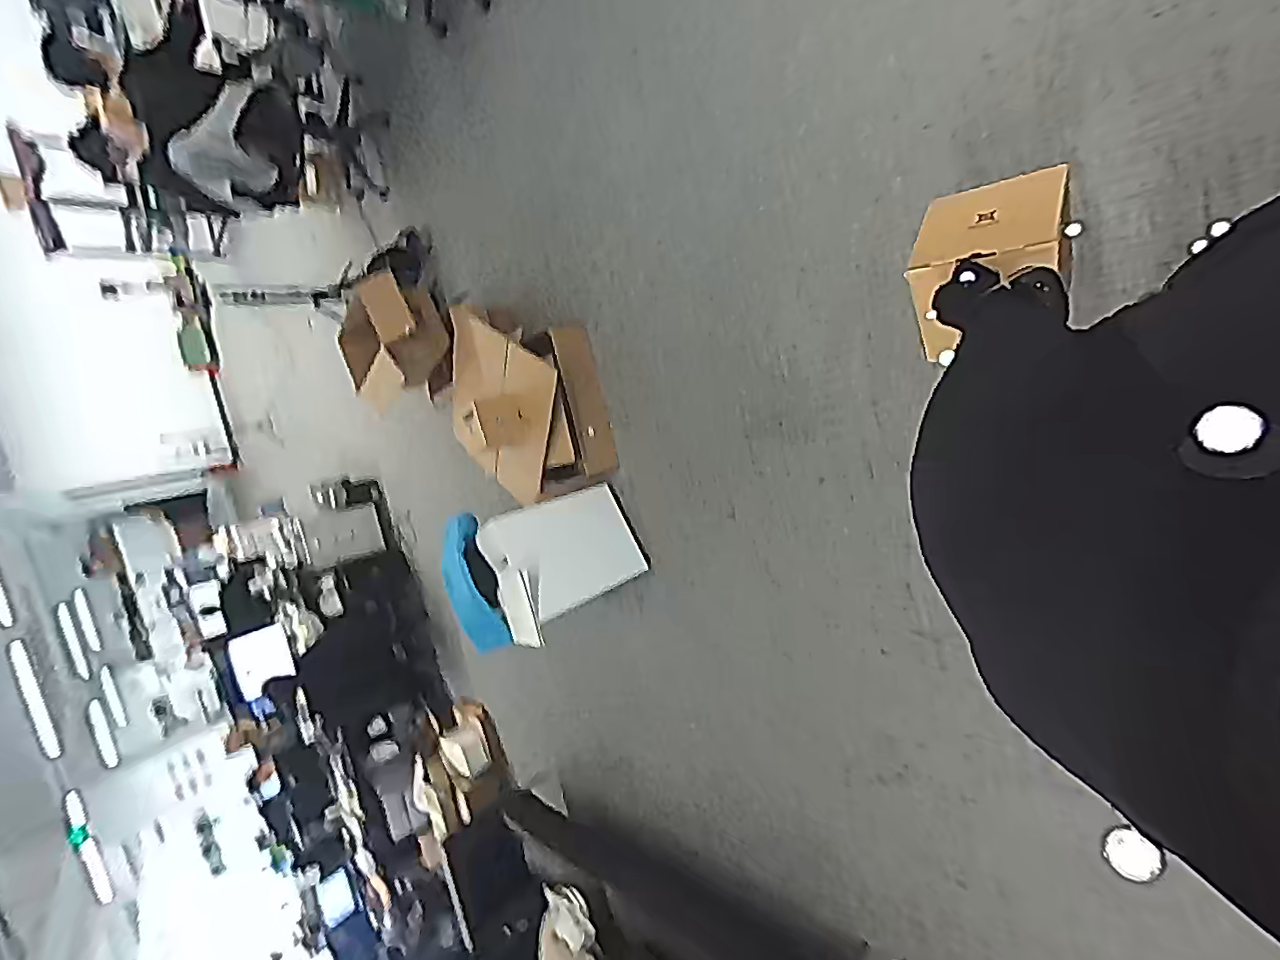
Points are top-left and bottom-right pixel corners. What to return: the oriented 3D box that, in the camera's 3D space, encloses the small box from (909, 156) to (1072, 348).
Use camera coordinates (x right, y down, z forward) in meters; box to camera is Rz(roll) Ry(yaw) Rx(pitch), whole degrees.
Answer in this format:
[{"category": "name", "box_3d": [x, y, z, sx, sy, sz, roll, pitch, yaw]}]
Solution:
[{"category": "small box", "box_3d": [0.505, -0.314, 0.774, 0.168, 0.179, 0.176, 4, 144, 41]}]
